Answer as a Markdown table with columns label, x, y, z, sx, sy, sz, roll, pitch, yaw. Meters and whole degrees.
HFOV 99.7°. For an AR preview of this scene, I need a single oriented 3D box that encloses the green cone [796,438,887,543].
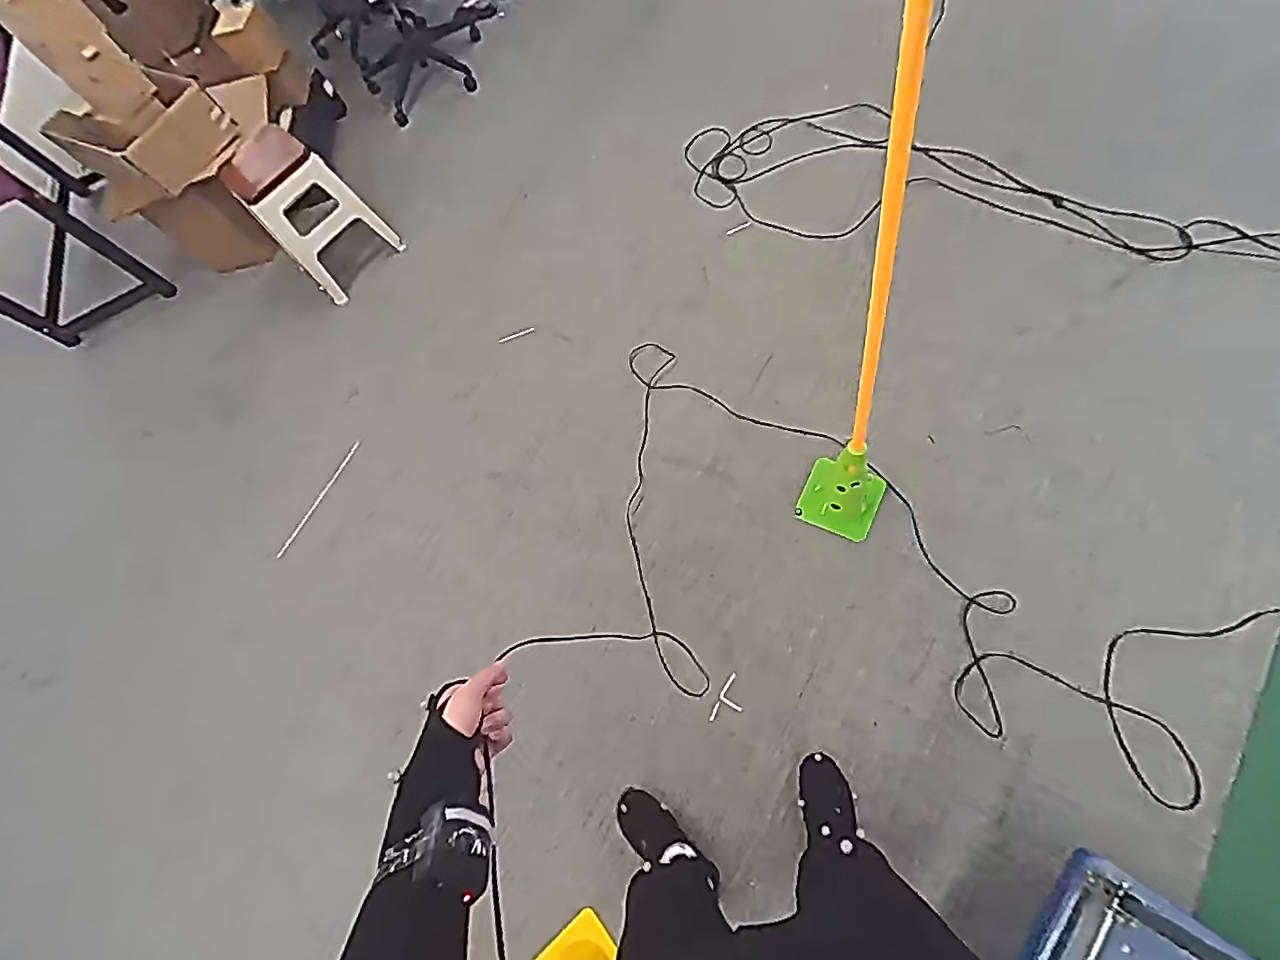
| label | x | y | z | sx | sy | sz | roll | pitch | yaw |
| --- | --- | --- | --- | --- | --- | --- | --- | --- | --- |
| green cone | 0.521 | -0.005 | 1.342 | 0.200 | 0.368 | 0.202 | 22 | 75 | 20 |
